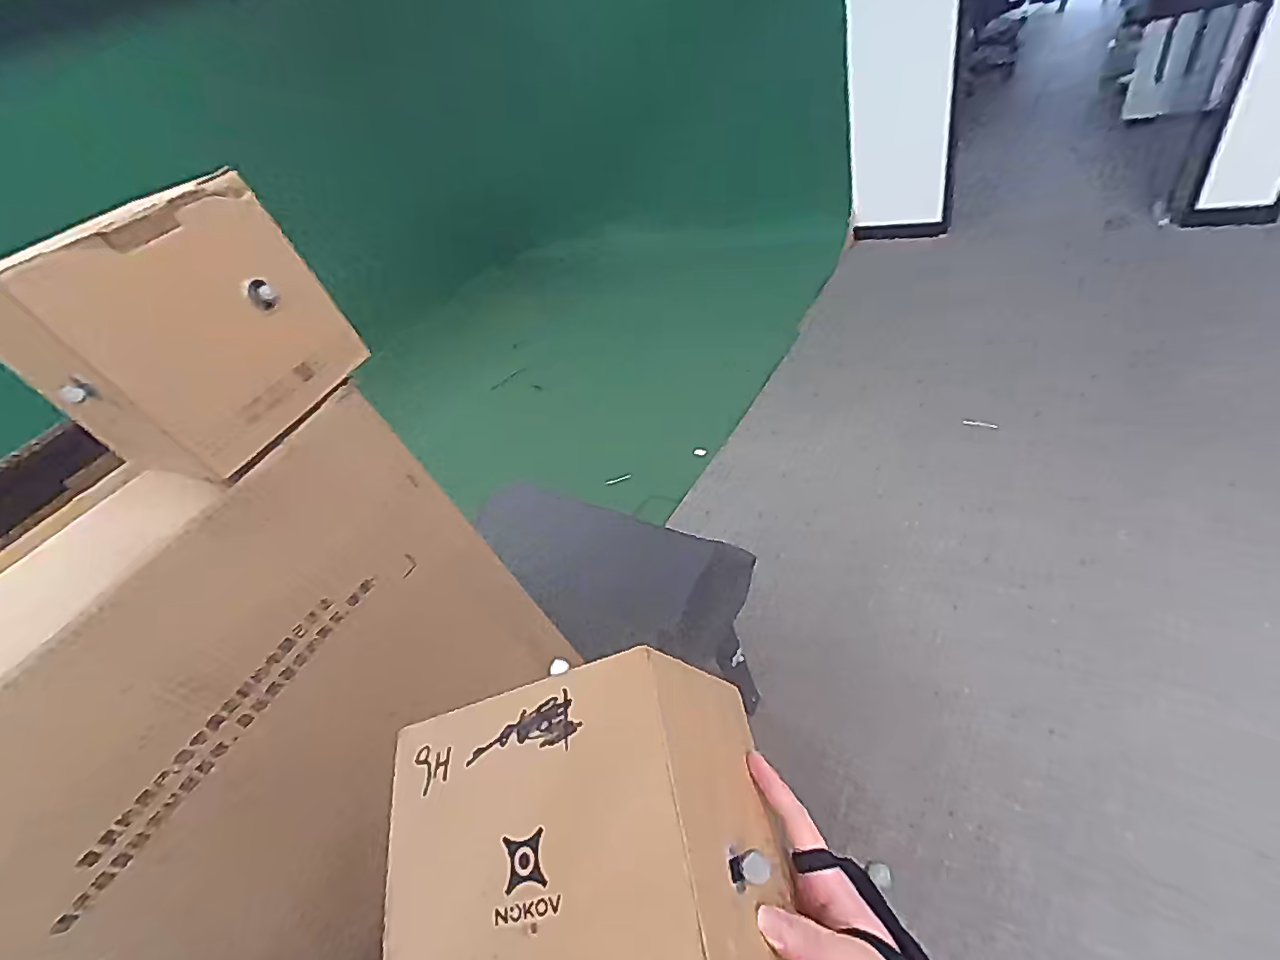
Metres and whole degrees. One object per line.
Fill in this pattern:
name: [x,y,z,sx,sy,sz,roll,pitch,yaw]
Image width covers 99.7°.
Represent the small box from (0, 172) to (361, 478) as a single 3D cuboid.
small box: [-0.376,-0.118,0.441,0.179,0.176,0.168,6,47,29]
